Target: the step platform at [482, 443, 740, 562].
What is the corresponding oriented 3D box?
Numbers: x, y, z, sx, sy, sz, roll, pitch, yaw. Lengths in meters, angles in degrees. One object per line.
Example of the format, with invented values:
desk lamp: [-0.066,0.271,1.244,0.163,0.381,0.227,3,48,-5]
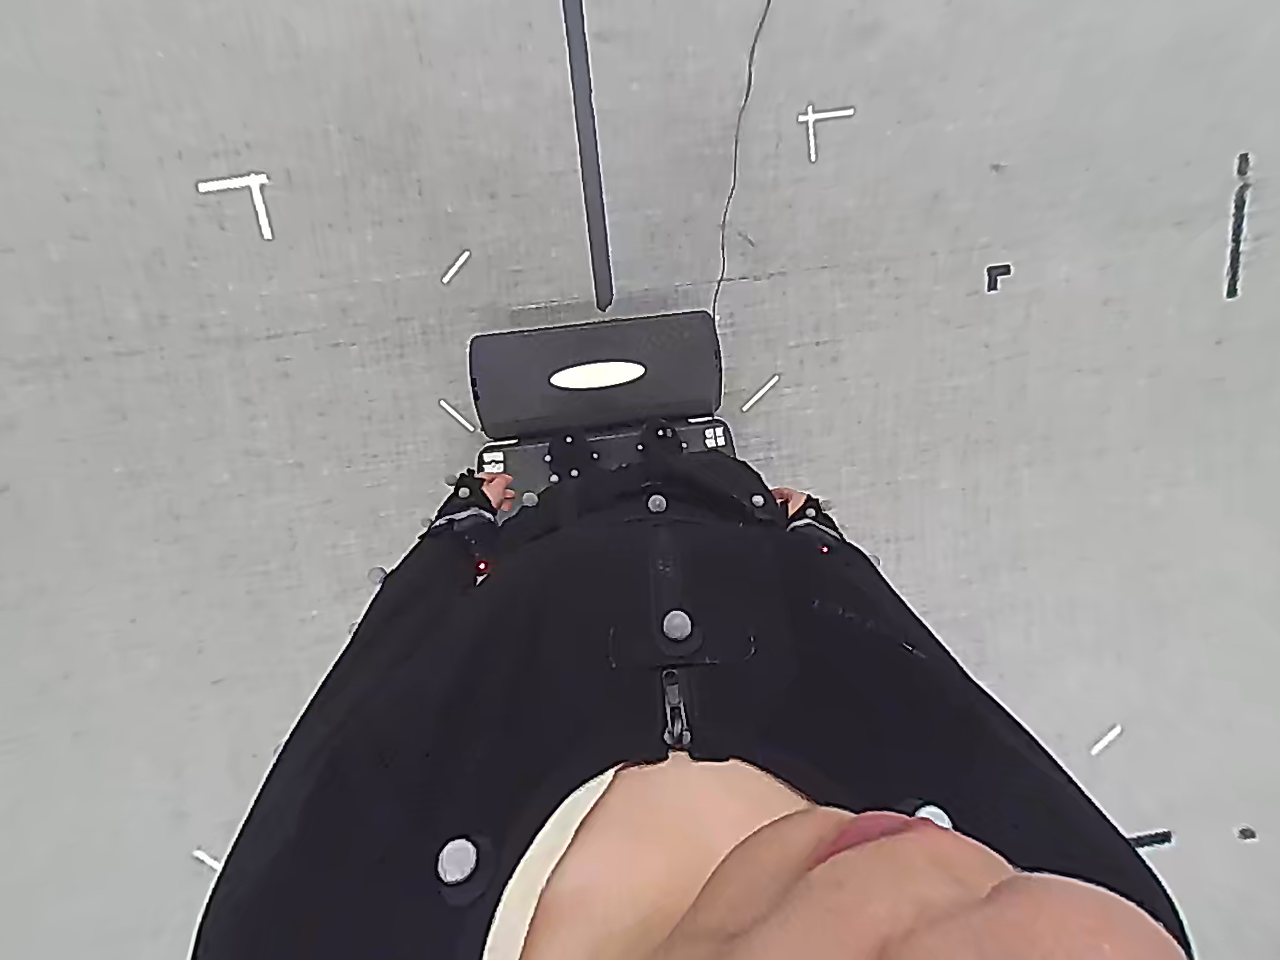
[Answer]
step platform: [-0.075,0.057,1.470,0.684,0.204,0.286,-3,97,-2]
